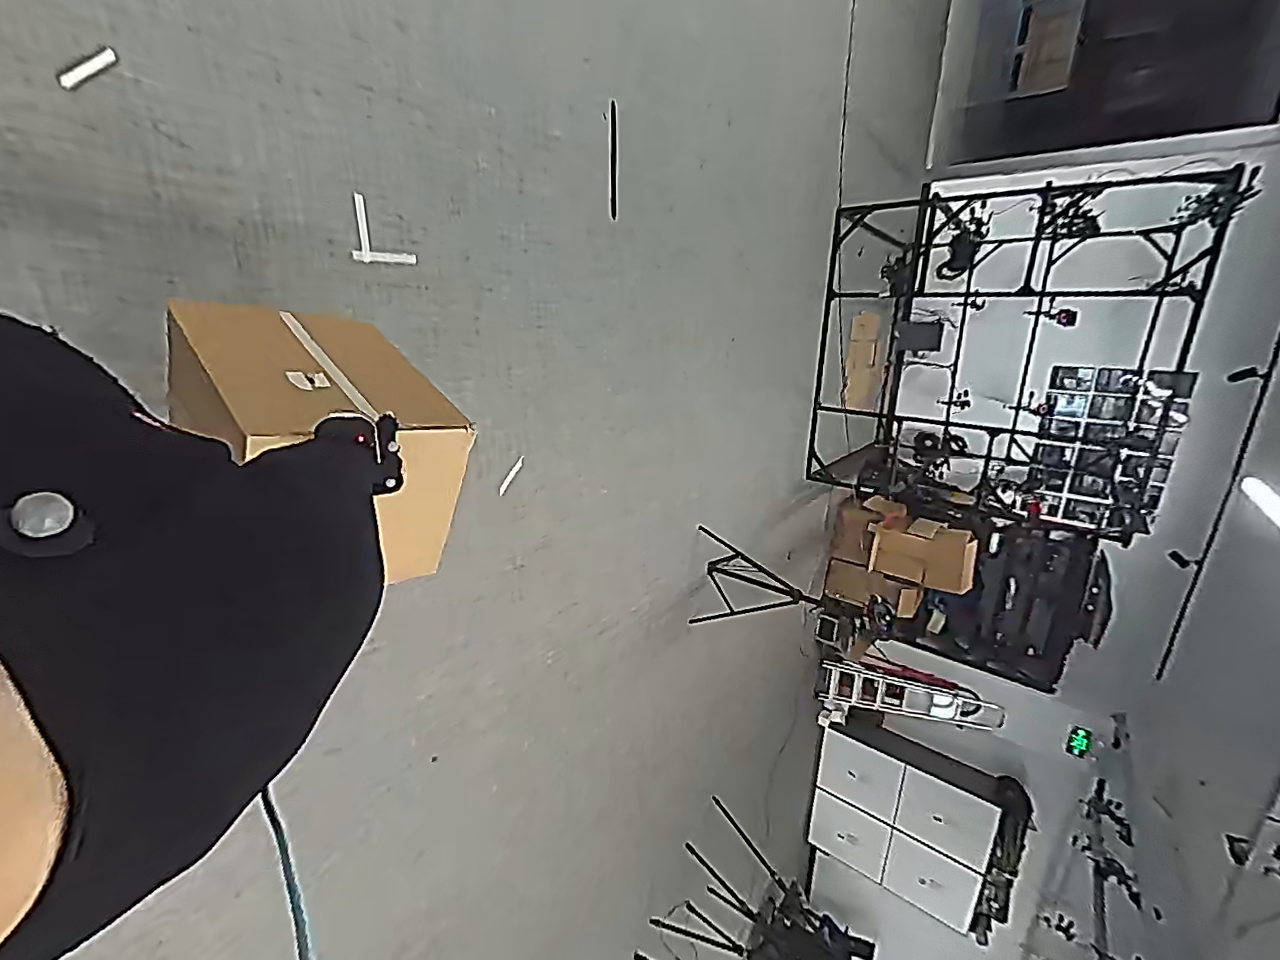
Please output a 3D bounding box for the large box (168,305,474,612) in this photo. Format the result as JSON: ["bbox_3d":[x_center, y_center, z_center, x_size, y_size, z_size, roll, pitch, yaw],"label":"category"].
[{"bbox_3d":[-0.558,-0.053,0.924,0.320,0.408,0.320,-10,133,-49],"label":"large box"}]
